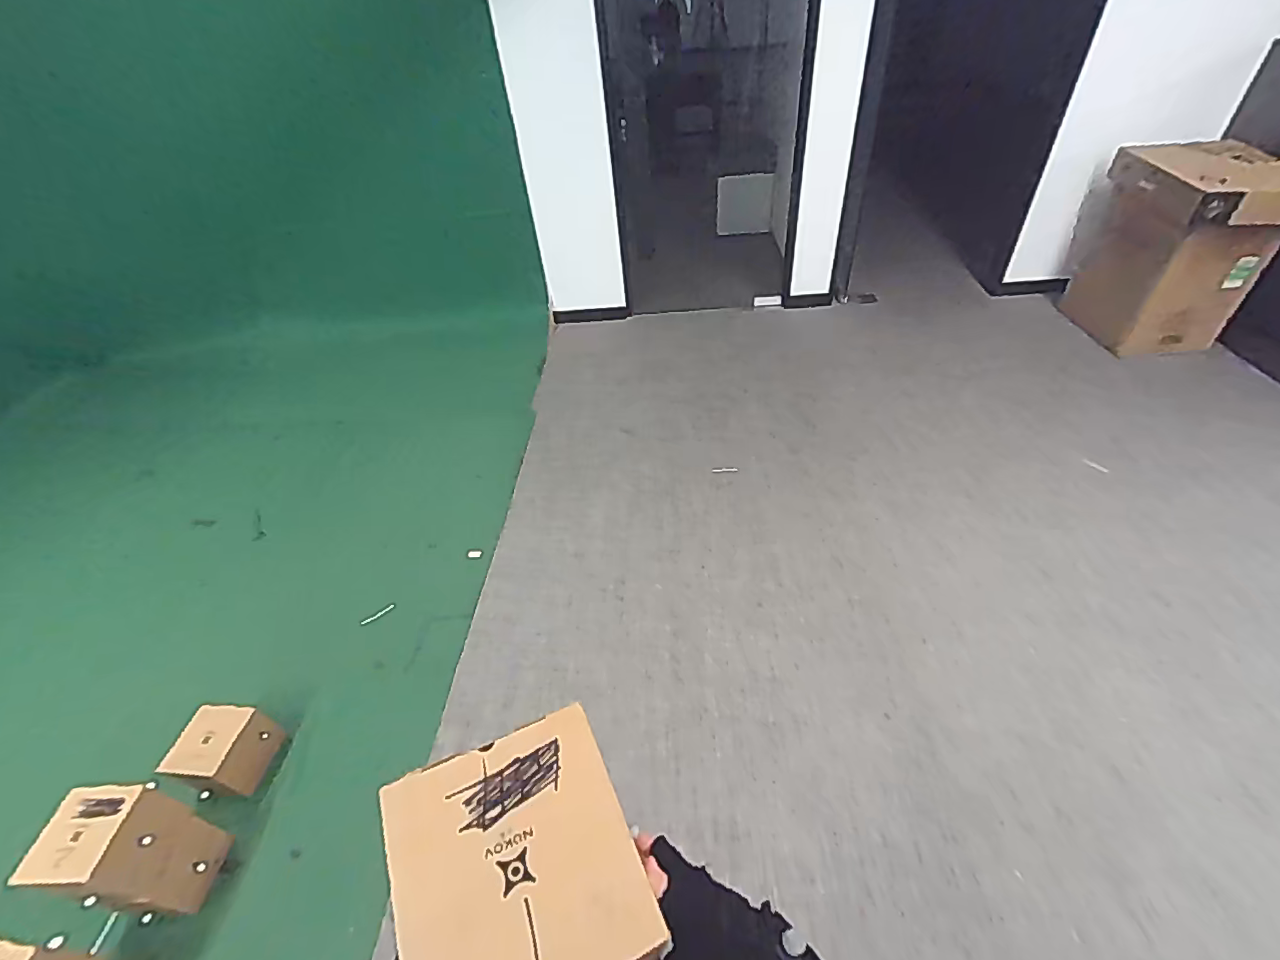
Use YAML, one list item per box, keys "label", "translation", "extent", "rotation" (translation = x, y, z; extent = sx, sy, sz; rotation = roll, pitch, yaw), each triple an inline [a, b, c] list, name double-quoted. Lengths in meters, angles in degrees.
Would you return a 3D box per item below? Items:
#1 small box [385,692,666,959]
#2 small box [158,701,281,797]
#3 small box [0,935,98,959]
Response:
- label: "small box"
  translation: [-0.093, 0.316, 0.445]
  extent: [0.168, 0.176, 0.179]
  rotation: [-17, 48, -18]
- label: "small box"
  translation: [-1.114, 0.724, 1.457]
  extent: [0.168, 0.176, 0.179]
  rotation: [1, 43, 8]
- label: "small box"
  translation: [-1.163, 0.945, 0.973]
  extent: [0.168, 0.176, 0.179]
  rotation: [1, 43, 8]
